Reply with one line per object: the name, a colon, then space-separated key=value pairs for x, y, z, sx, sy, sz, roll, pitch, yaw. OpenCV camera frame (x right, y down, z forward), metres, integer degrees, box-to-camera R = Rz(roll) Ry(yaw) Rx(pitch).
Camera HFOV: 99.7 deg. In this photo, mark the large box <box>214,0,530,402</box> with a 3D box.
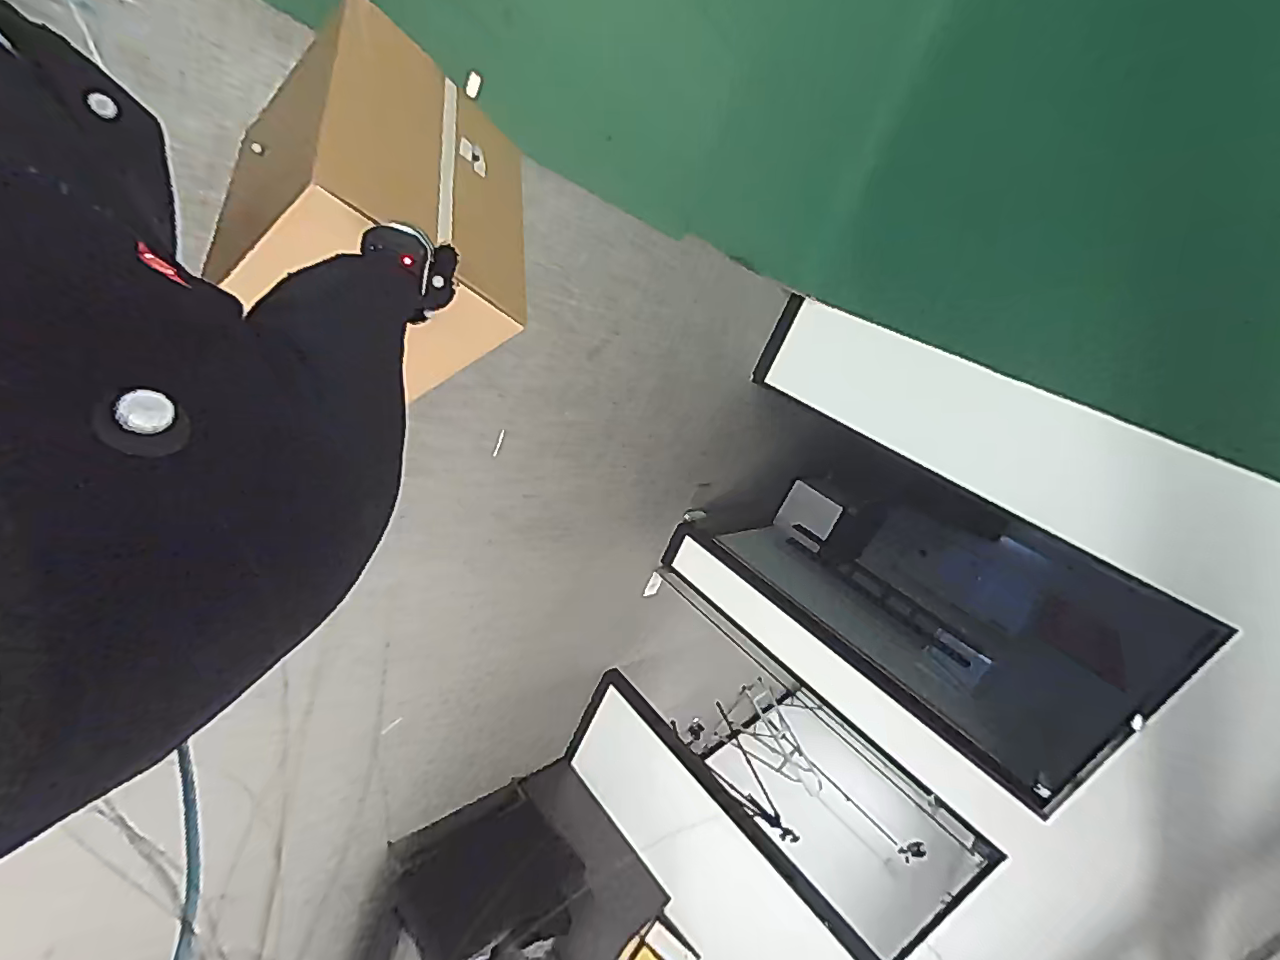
large box: x=-0.400 y=-0.398 z=0.847 sx=0.320 sy=0.408 sz=0.320 roll=-23 pitch=152 yaw=29
